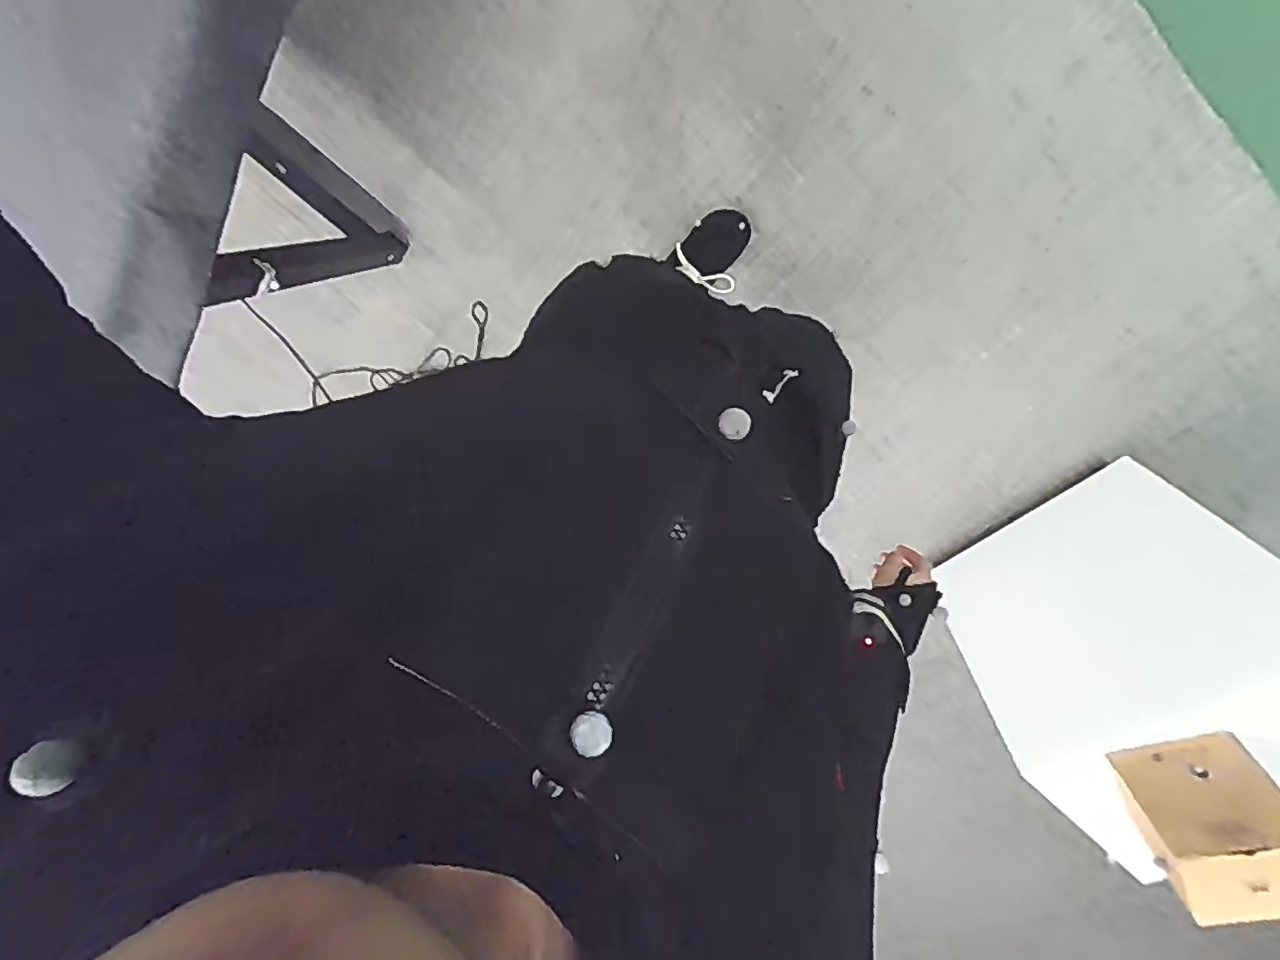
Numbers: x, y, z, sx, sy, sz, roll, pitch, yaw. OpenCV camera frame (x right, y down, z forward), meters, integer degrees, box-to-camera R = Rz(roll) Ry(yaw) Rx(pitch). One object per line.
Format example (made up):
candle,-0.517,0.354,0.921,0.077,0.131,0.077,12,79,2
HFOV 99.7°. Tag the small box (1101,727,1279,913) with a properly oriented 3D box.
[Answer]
small box,0.856,0.514,0.823,0.168,0.176,0.179,-26,111,22
